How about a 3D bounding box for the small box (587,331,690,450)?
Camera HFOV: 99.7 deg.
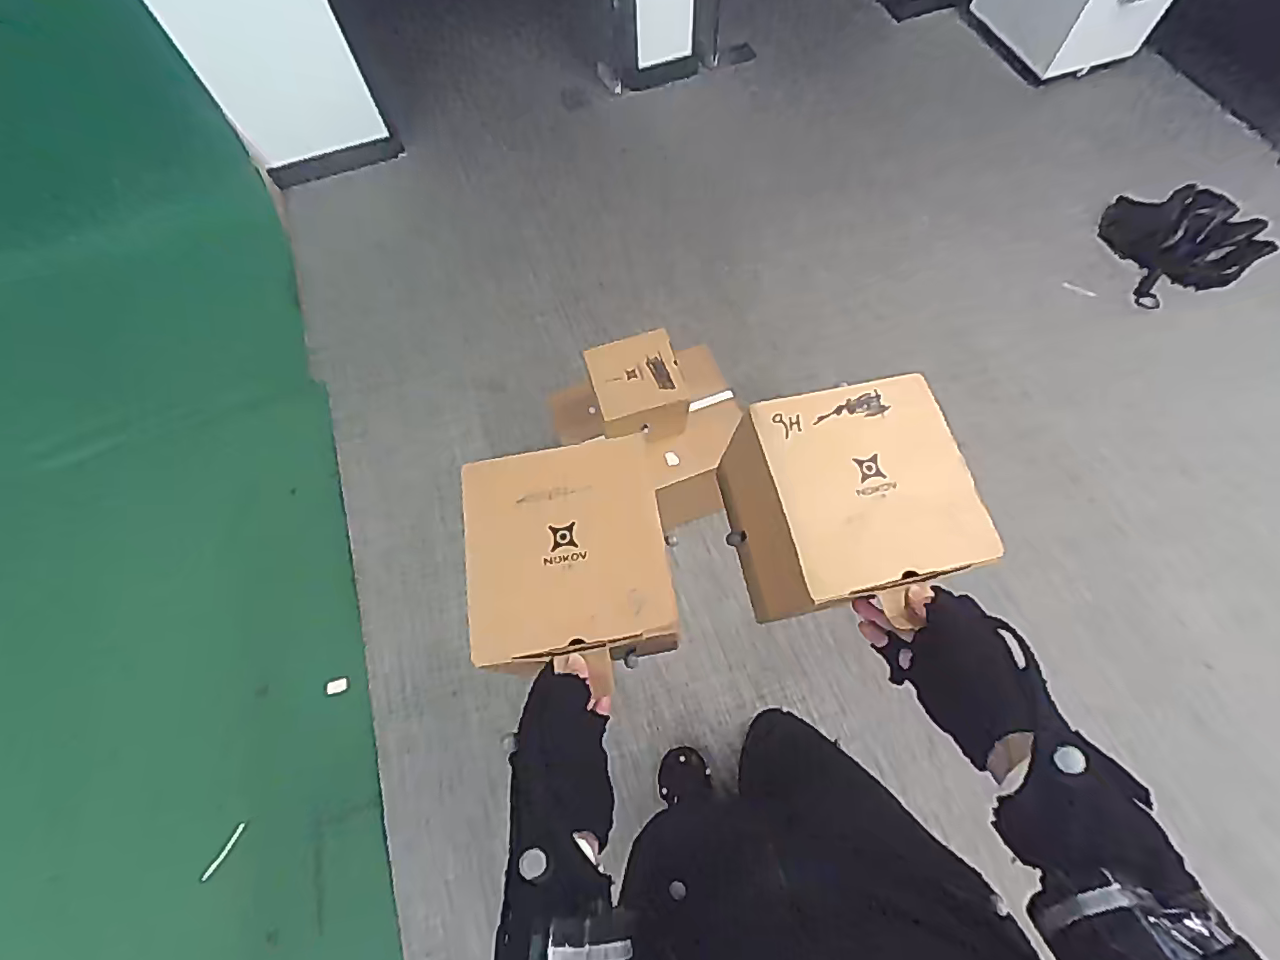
[{"bbox_3d":[-0.006,-0.182,1.133,0.179,0.176,0.168,-13,71,-4],"label":"small box"}]
